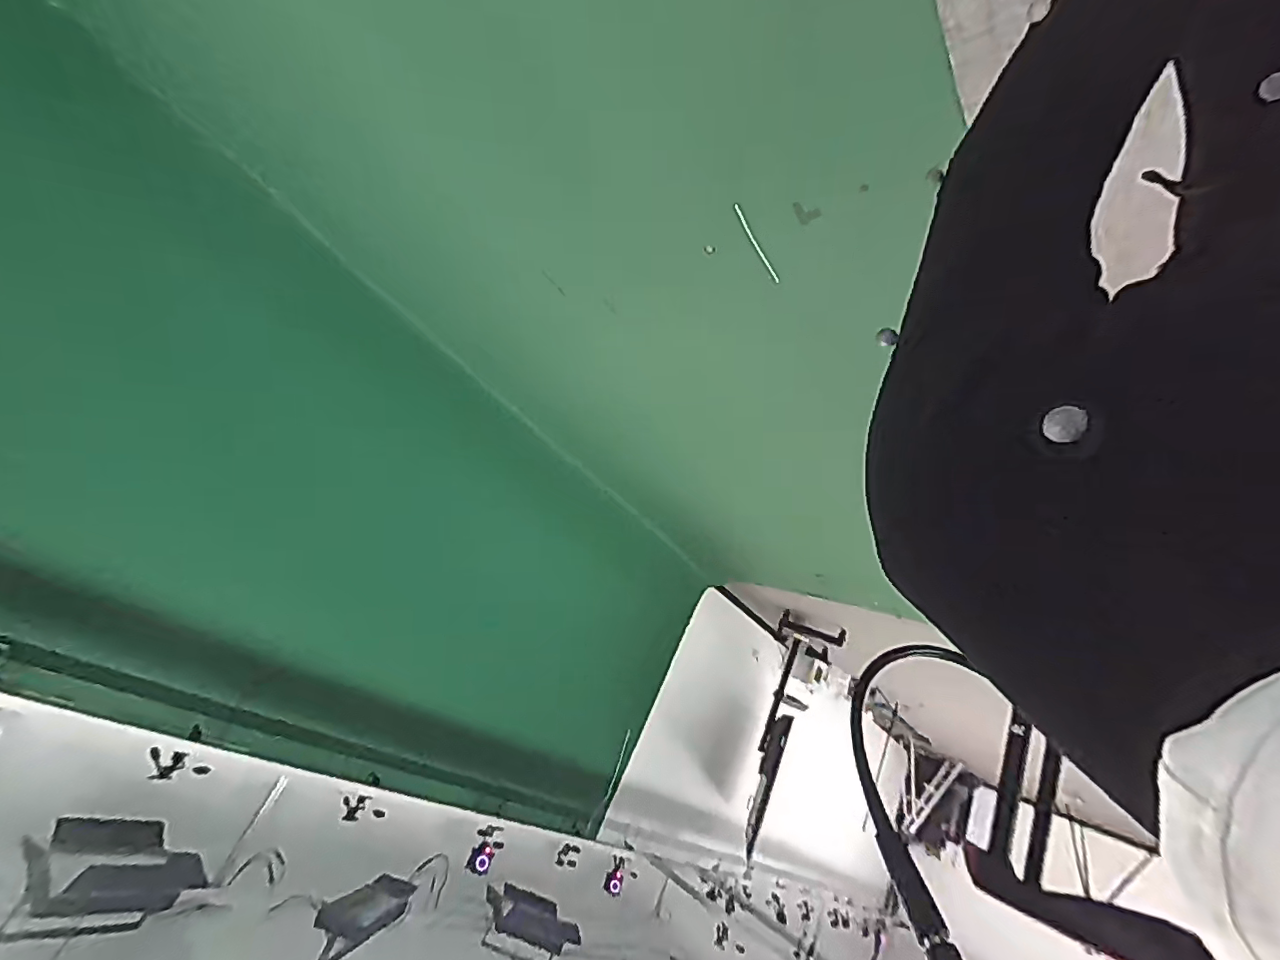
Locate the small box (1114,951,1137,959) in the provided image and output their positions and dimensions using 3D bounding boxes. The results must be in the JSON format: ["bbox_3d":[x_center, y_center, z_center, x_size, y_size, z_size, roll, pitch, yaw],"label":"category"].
[{"bbox_3d":[1.291,1.324,1.352,0.168,0.176,0.179,5,152,45],"label":"small box"}]
